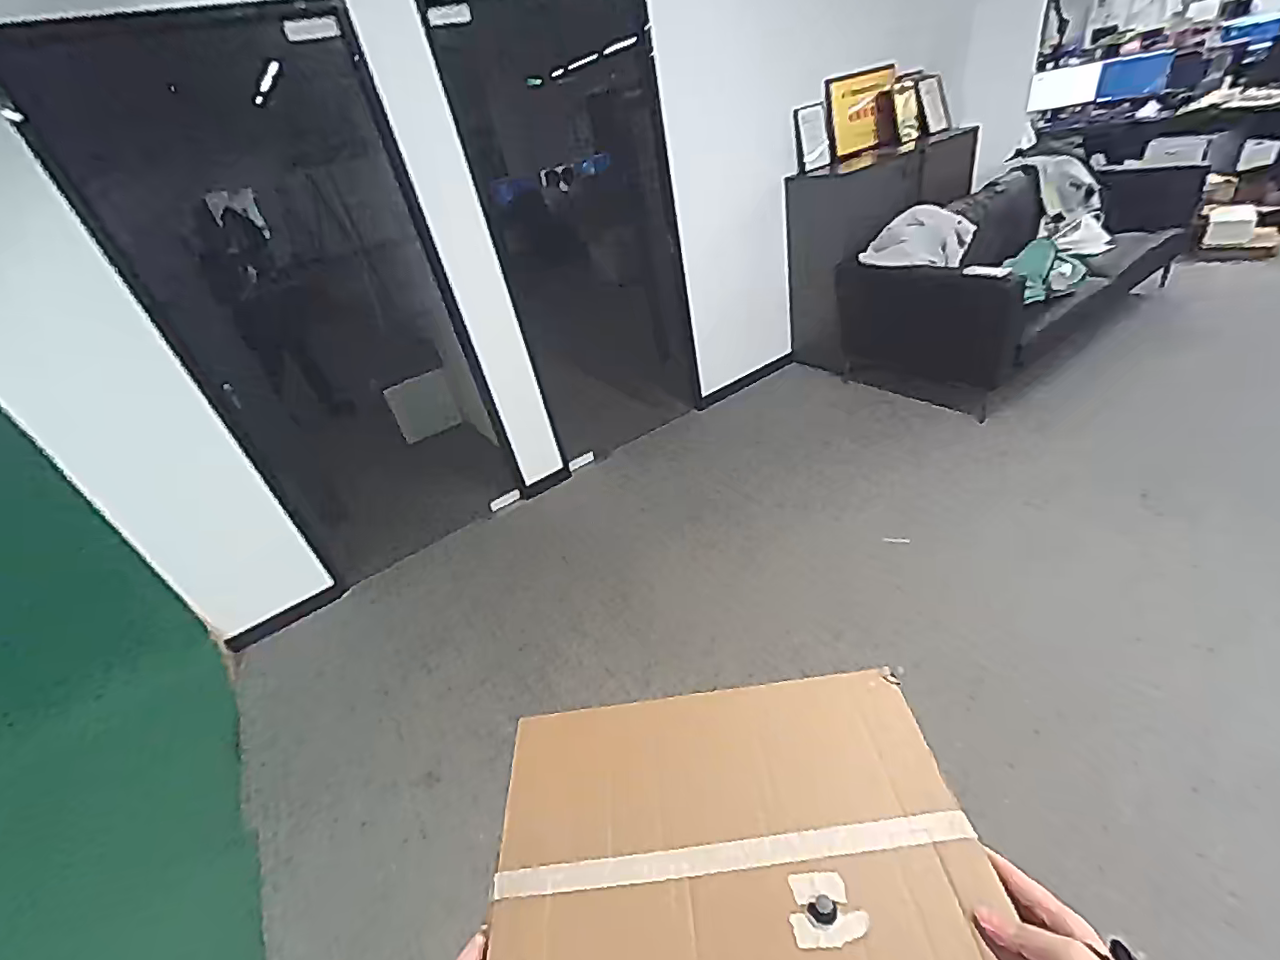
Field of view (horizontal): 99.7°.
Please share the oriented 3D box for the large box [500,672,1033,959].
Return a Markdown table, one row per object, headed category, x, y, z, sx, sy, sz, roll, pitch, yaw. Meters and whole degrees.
| category | x | y | z | sx | sy | sz | roll | pitch | yaw |
| --- | --- | --- | --- | --- | --- | --- | --- | --- | --- |
| large box | 0.099 | 0.443 | 0.552 | 0.408 | 0.320 | 0.320 | -7 | 35 | 2 |
